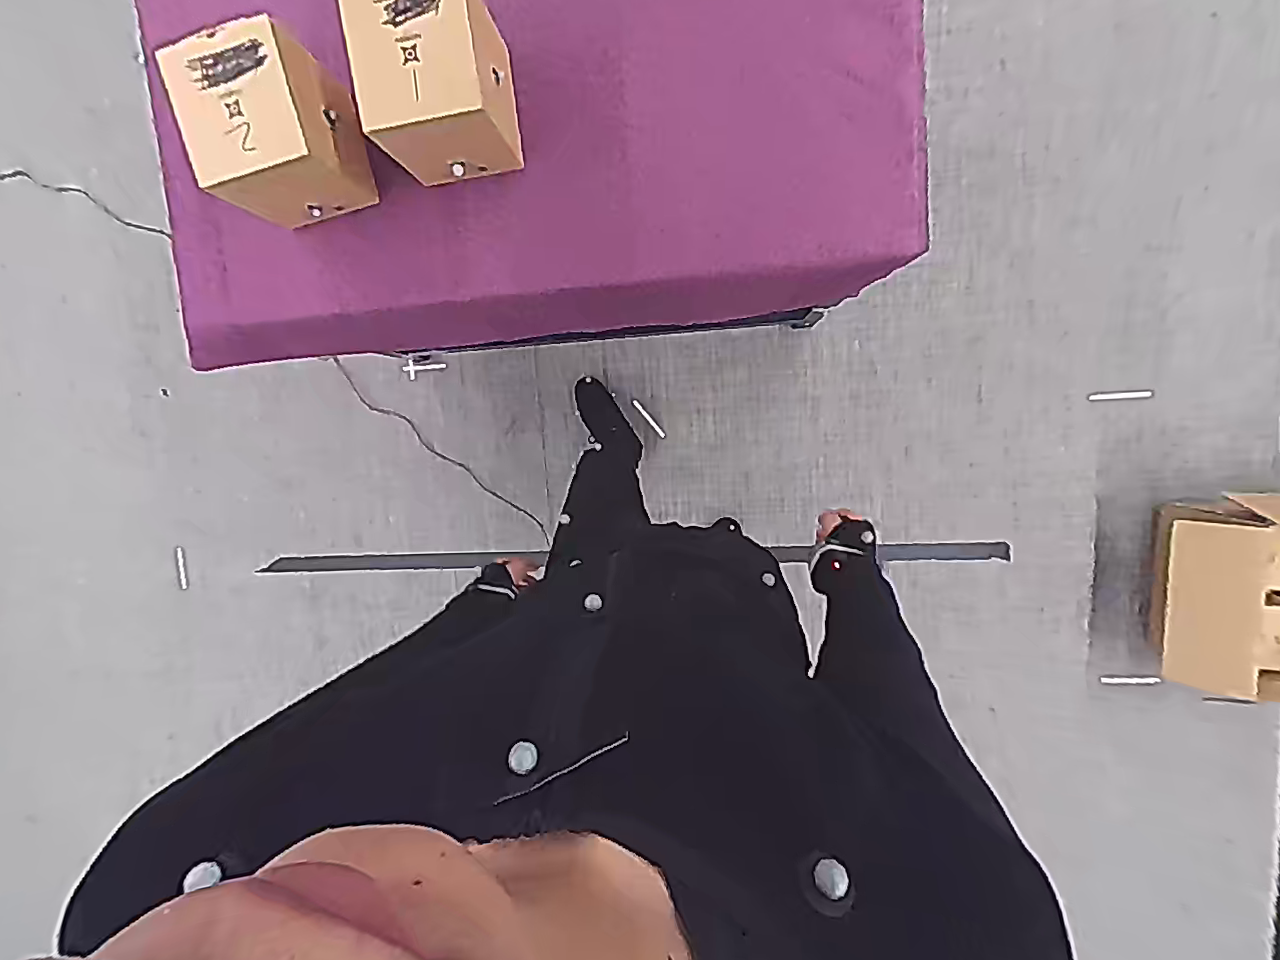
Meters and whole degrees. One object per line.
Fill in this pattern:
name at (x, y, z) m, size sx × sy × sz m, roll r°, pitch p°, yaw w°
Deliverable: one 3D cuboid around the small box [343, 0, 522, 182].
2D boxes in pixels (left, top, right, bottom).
small box at (-0.277, -0.553, 0.756) m, size 0.168 × 0.176 × 0.179 m, roll -7°, pitch 96°, yaw 7°
